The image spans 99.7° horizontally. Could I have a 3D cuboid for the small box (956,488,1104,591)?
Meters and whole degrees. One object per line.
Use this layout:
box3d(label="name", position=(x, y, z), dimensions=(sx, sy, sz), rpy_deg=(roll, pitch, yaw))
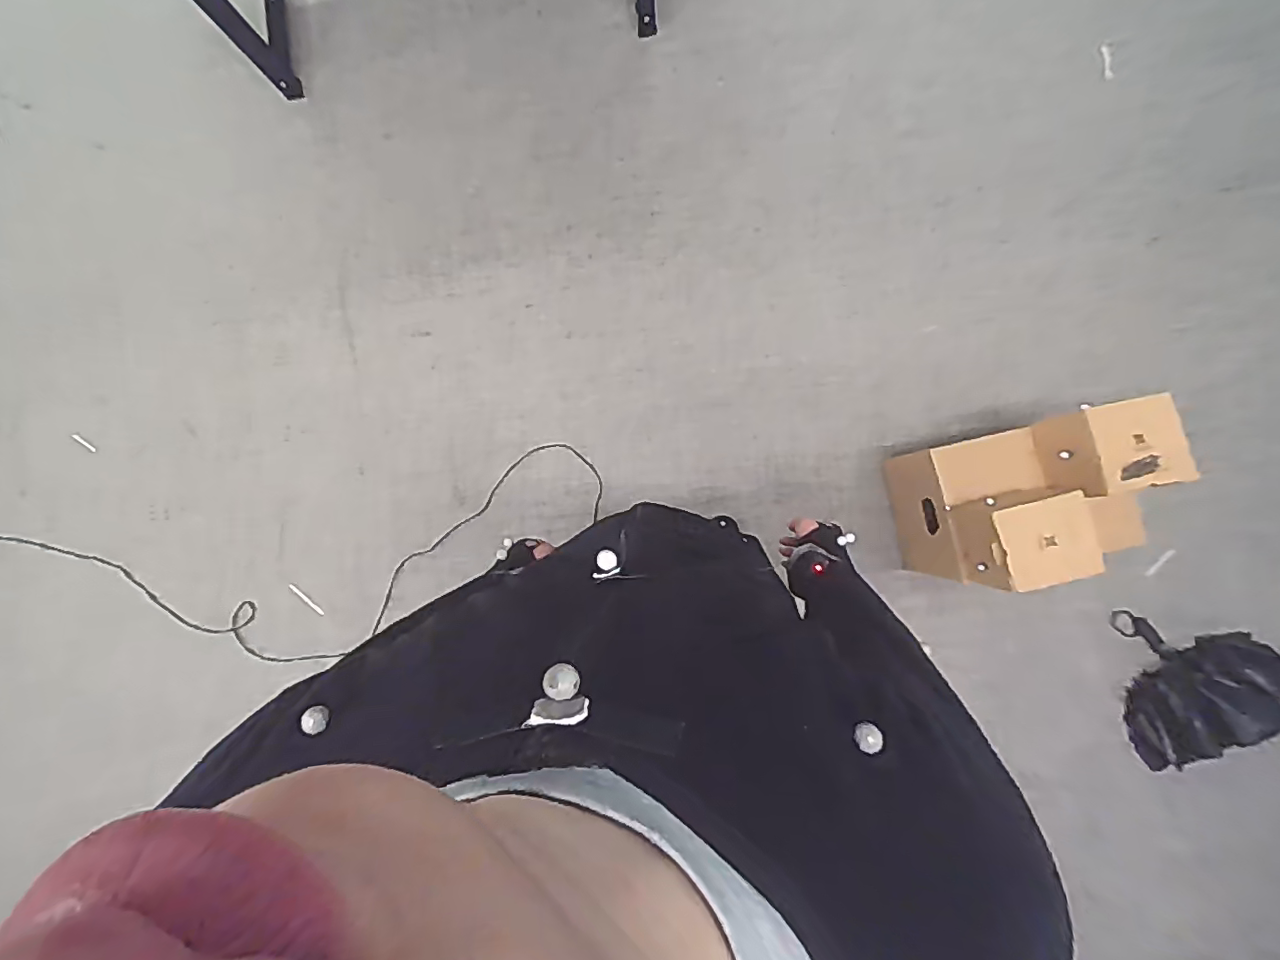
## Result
box3d(label="small box", position=(0.788, 0.118, 1.119), dimensions=(0.179, 0.176, 0.168), rpy_deg=(-16, 89, 2))

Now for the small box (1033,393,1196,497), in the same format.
box3d(label="small box", position=(0.964, -0.062, 1.116), dimensions=(0.168, 0.176, 0.179), rpy_deg=(-11, 83, 3))
